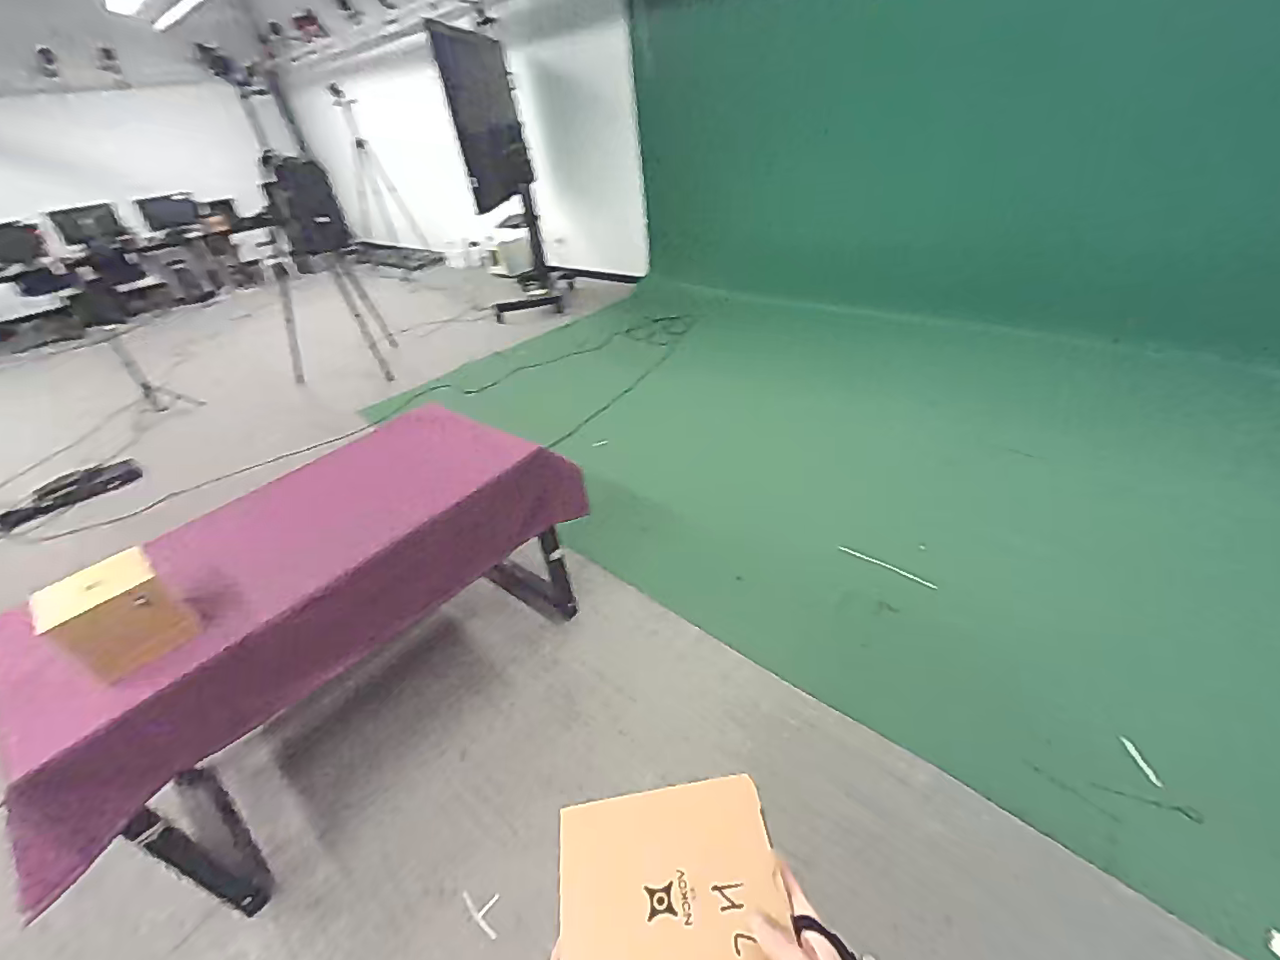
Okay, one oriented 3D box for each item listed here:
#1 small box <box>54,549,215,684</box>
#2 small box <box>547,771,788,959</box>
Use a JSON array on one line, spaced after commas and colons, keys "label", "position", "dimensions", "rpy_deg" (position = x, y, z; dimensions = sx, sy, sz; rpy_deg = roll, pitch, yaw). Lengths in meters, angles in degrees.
[{"label": "small box", "position": [-1.032, 0.280, 1.112], "dimensions": [0.168, 0.176, 0.179], "rpy_deg": [22, 45, 37]}, {"label": "small box", "position": [0.026, 0.387, 0.465], "dimensions": [0.179, 0.176, 0.168], "rpy_deg": [-11, 36, -1]}]
